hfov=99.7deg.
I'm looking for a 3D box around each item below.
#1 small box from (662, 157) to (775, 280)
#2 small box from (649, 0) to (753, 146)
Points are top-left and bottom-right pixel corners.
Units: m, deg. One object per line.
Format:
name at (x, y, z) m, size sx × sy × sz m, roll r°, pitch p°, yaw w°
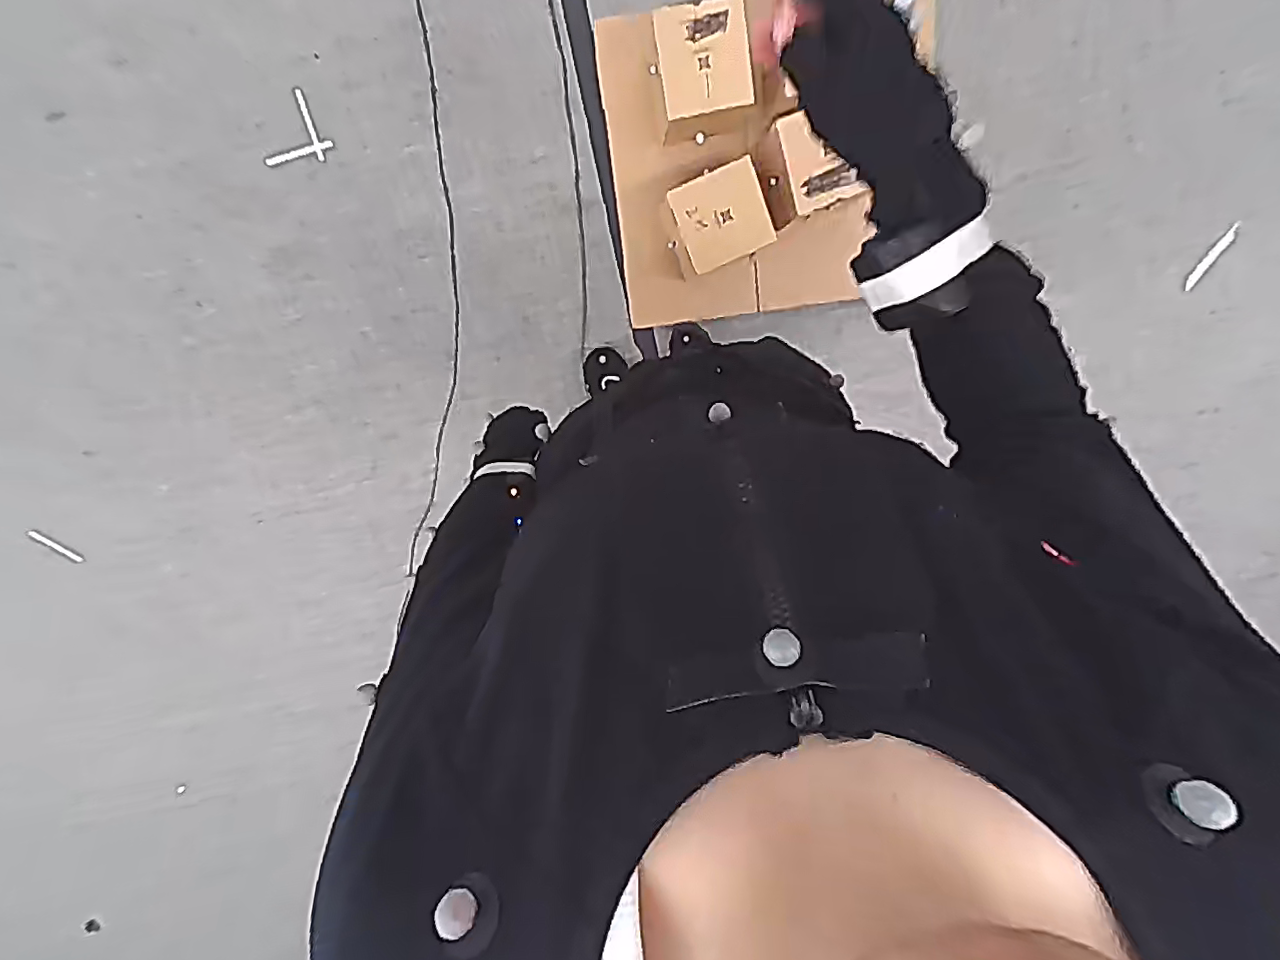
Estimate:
small box at (0.157, -0.536, 1.132) m, size 0.179 × 0.176 × 0.168 m, roll -22°, pitch 104°, yaw 5°
small box at (0.114, -0.790, 1.060) m, size 0.168 × 0.176 × 0.179 m, roll -10°, pitch 107°, yaw 1°
